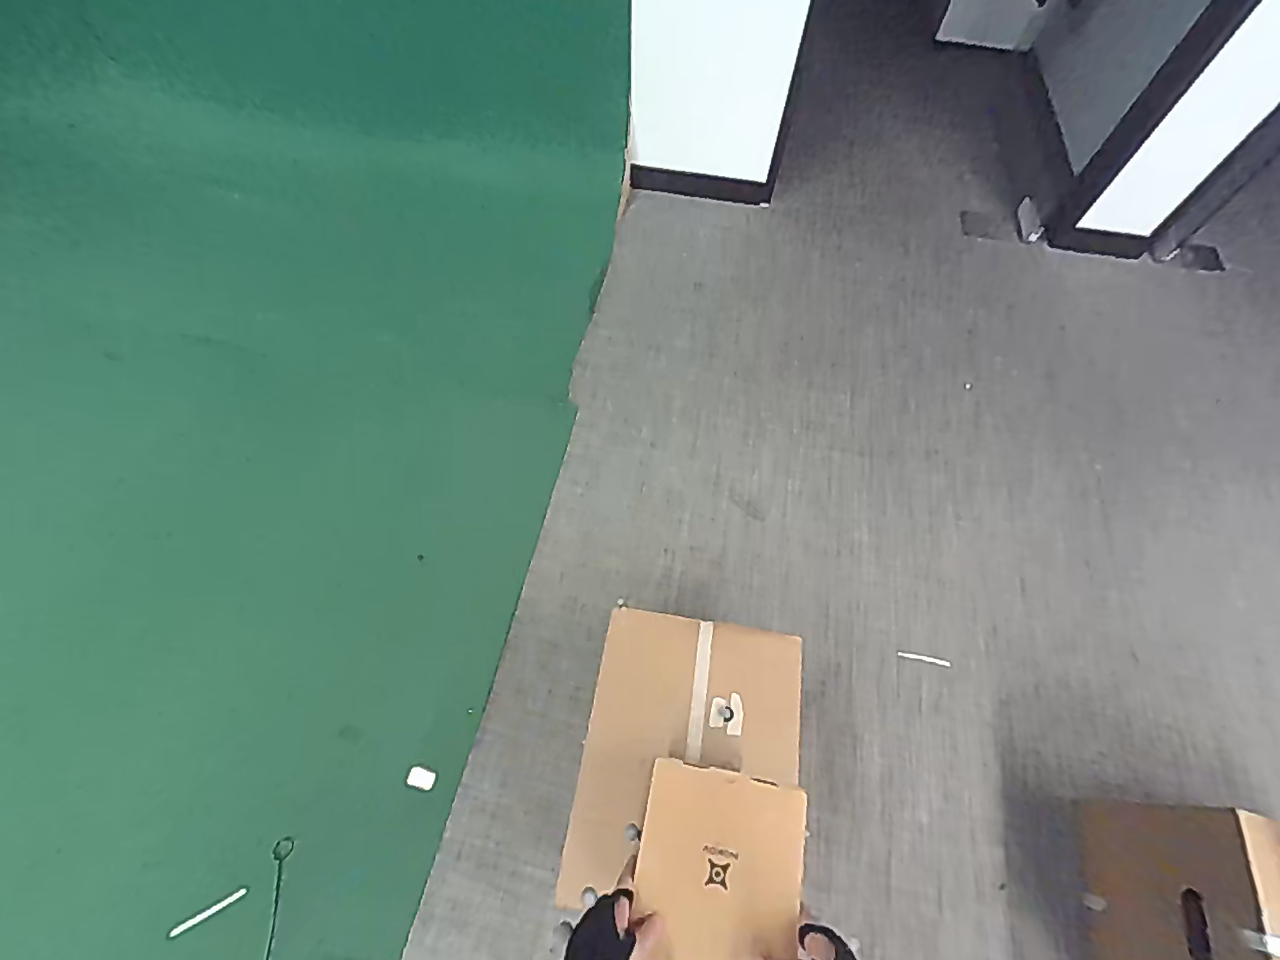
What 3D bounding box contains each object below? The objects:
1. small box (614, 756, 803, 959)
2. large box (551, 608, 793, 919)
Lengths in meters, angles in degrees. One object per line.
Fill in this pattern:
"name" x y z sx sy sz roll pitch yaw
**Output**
"small box" 0.074 0.429 0.612 0.168 0.176 0.179 12 62 6
"large box" 0.062 0.477 0.913 0.320 0.320 0.408 10 61 4
